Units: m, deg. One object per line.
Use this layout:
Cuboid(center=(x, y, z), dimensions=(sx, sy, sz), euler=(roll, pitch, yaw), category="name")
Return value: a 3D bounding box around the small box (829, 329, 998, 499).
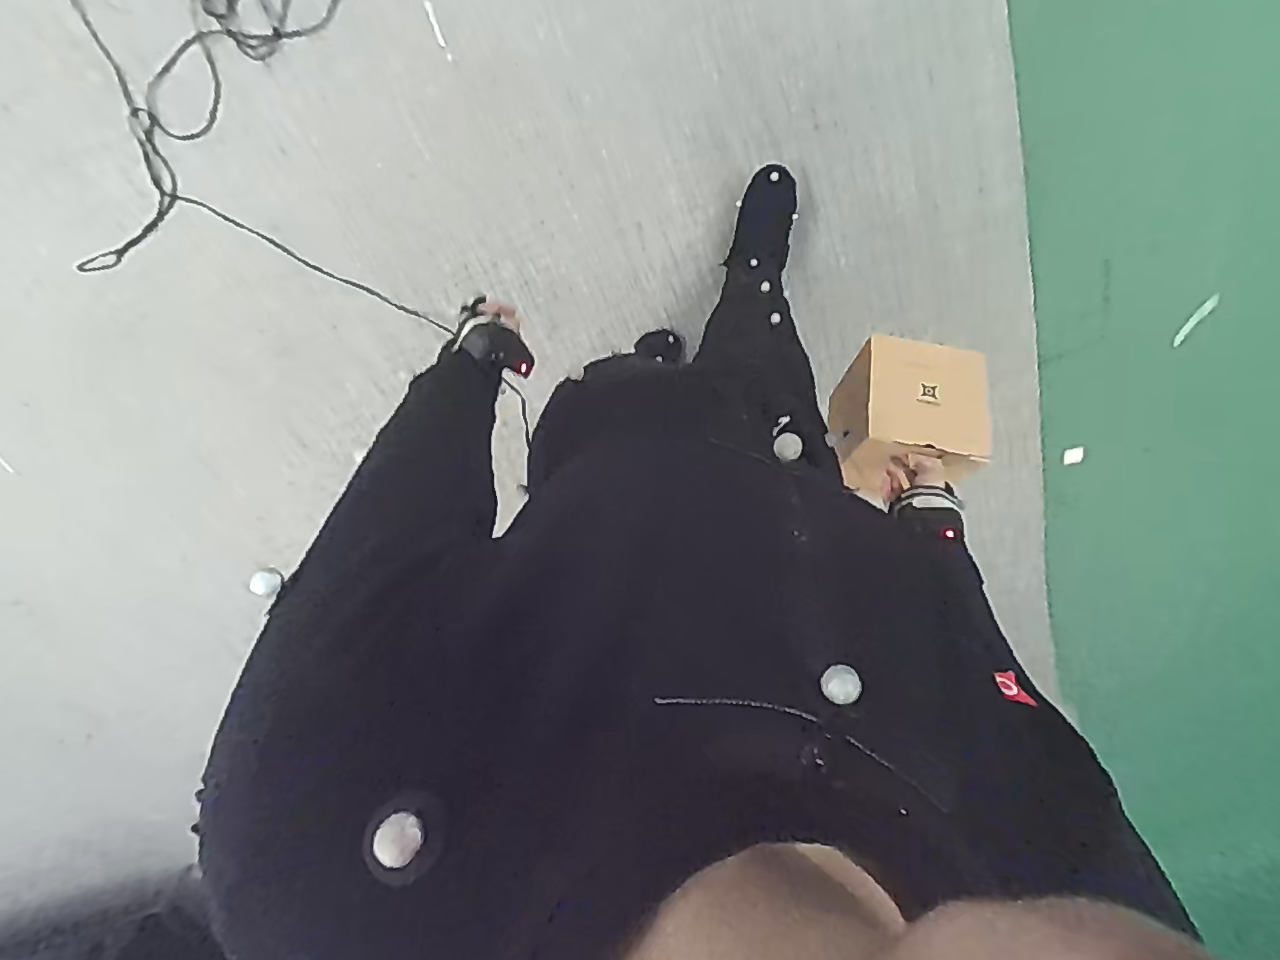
Cuboid(center=(0.387, -0.089, 0.794), dimensions=(0.168, 0.179, 0.176), euler=(10, 155, 3), category="small box")
